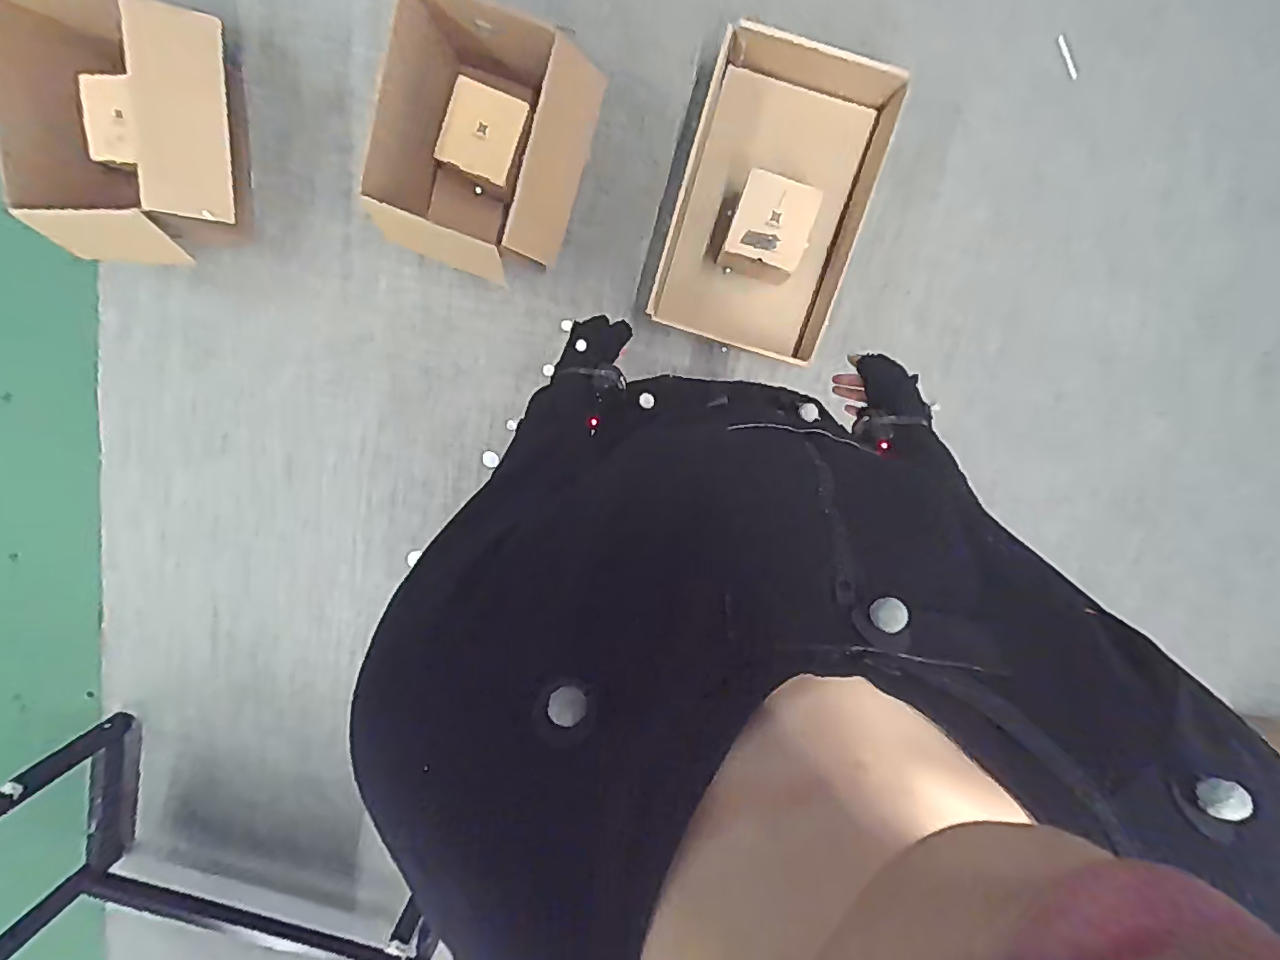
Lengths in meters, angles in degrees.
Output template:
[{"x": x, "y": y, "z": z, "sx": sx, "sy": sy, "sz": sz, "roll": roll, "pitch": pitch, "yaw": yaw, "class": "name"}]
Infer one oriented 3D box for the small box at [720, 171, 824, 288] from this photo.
[{"x": 0.288, "y": -0.555, "z": 1.225, "sx": 0.168, "sy": 0.176, "sz": 0.179, "roll": 19, "pitch": 100, "yaw": -1, "class": "small box"}]
